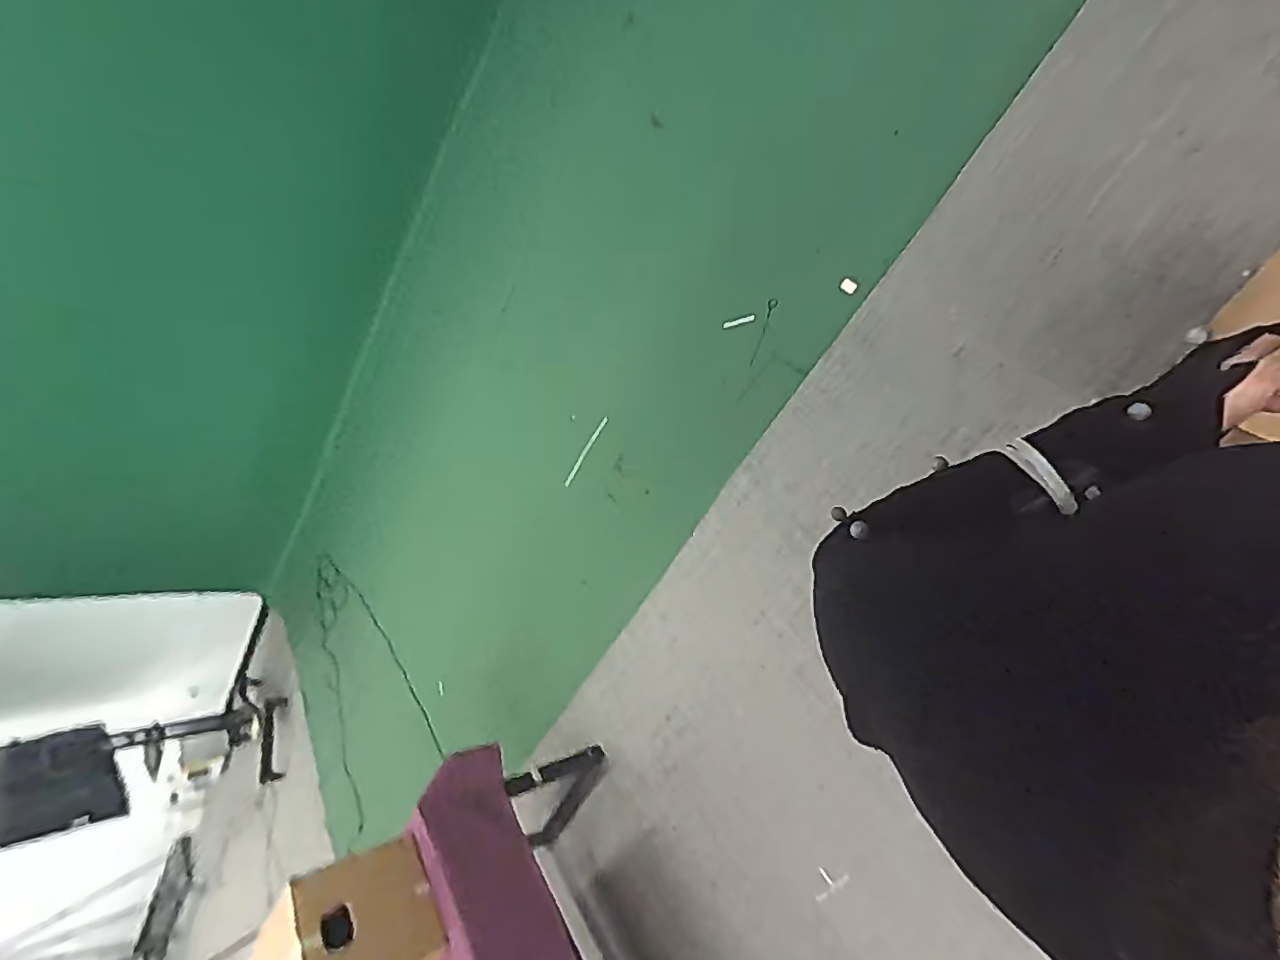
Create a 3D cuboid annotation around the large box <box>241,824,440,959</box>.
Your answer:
[{"bbox_3d":[-0.787,1.205,1.412,0.320,0.320,0.408,48,113,34],"label":"large box"}]
